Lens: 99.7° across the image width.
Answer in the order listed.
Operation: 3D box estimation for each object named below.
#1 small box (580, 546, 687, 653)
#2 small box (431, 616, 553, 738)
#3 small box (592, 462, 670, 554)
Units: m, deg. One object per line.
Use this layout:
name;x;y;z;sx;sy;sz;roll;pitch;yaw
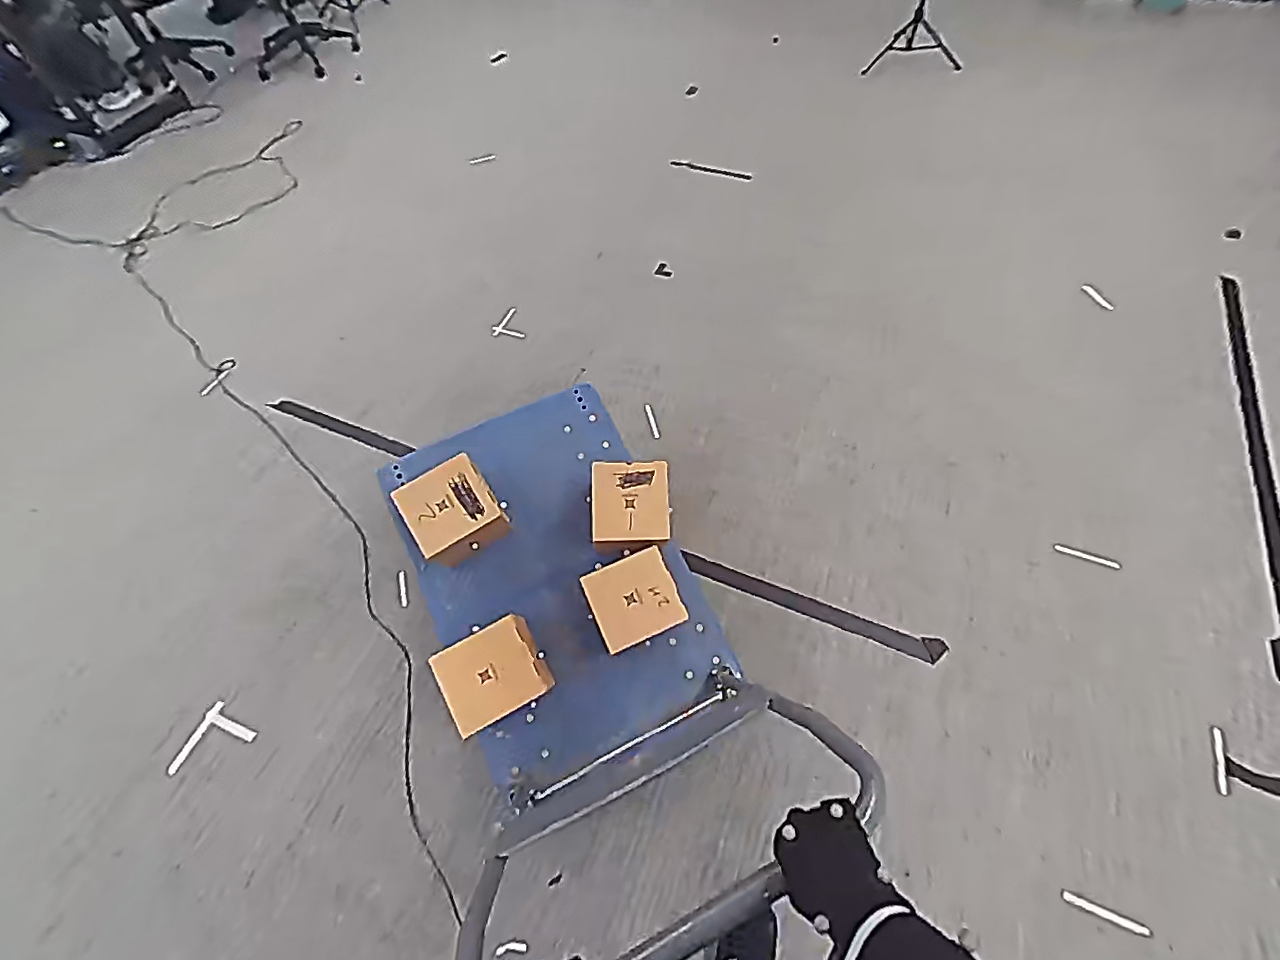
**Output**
small box;-0.016;0.263;1.169;0.179;0.176;0.168;-23;76;-9
small box;-0.296;0.400;1.115;0.179;0.176;0.168;-28;77;-12
small box;-0.026;0.067;1.228;0.168;0.176;0.179;-2;74;-3
